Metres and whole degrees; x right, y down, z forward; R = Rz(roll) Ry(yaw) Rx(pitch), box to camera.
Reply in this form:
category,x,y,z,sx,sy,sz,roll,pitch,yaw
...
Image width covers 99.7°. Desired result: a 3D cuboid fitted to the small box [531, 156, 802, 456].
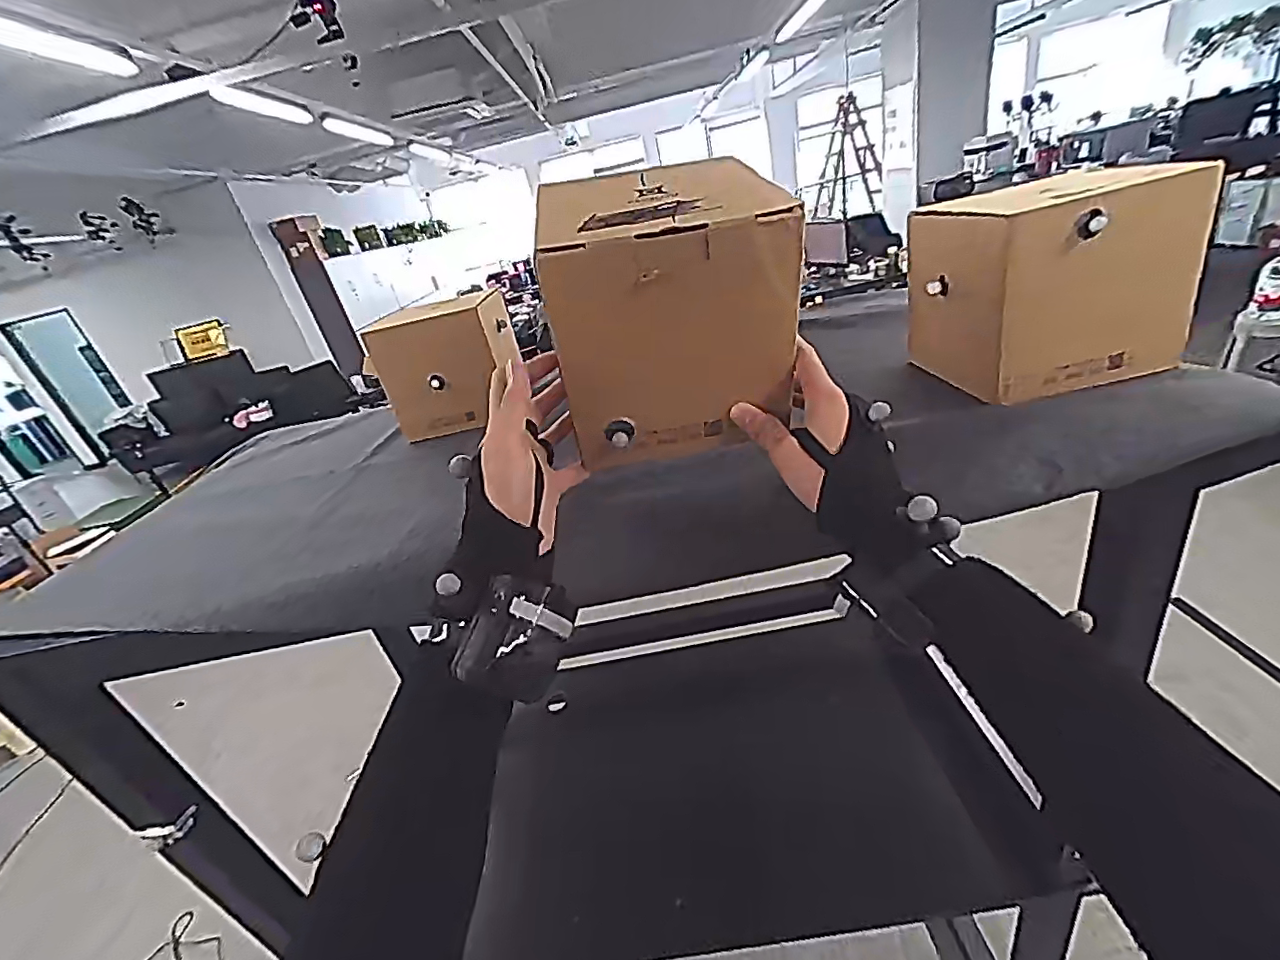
category,x,y,z,sx,sy,sz,roll,pitch,yaw
small box,0.017,-0.133,0.428,0.168,0.176,0.179,-9,41,-1

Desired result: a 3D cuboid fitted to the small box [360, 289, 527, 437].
category,x,y,z,sx,sy,sz,roll,pitch,yaw
small box,-0.282,-0.176,0.826,0.168,0.176,0.179,-12,27,3

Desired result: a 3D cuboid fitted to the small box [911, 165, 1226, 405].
category,x,y,z,sx,sy,sz,roll,pitch,yaw
small box,0.385,-0.187,0.528,0.168,0.176,0.179,-13,26,4
